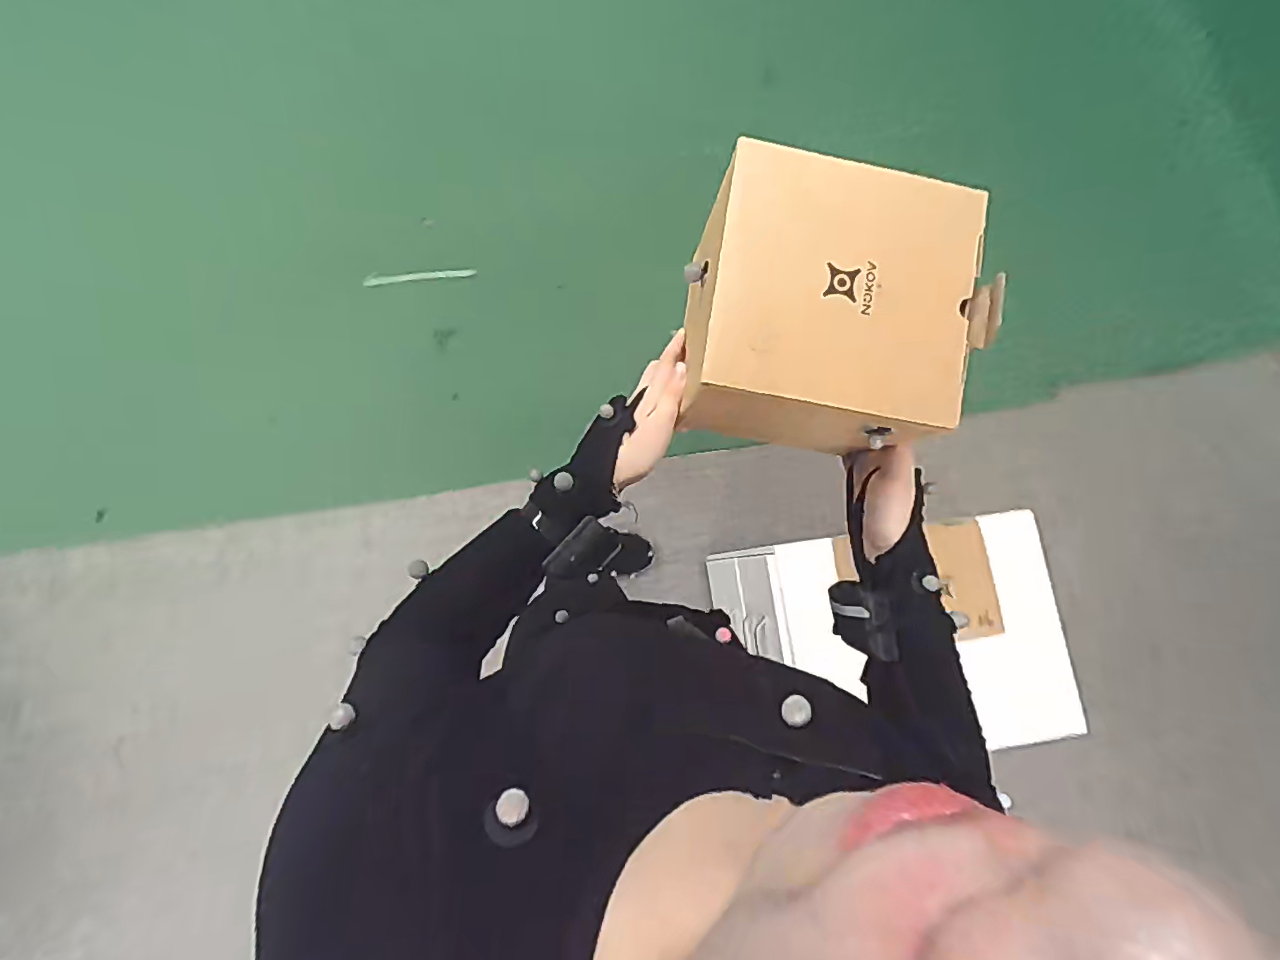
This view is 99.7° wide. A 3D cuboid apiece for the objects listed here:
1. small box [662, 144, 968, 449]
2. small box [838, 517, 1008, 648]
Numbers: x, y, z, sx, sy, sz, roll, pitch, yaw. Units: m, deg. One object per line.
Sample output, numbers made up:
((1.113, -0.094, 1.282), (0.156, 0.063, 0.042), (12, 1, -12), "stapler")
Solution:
((0.118, -0.122, 0.430), (0.179, 0.176, 0.168), (8, 87, -5), "small box")
((0.442, 0.163, 0.876), (0.168, 0.176, 0.179), (-7, 82, -6), "small box")
